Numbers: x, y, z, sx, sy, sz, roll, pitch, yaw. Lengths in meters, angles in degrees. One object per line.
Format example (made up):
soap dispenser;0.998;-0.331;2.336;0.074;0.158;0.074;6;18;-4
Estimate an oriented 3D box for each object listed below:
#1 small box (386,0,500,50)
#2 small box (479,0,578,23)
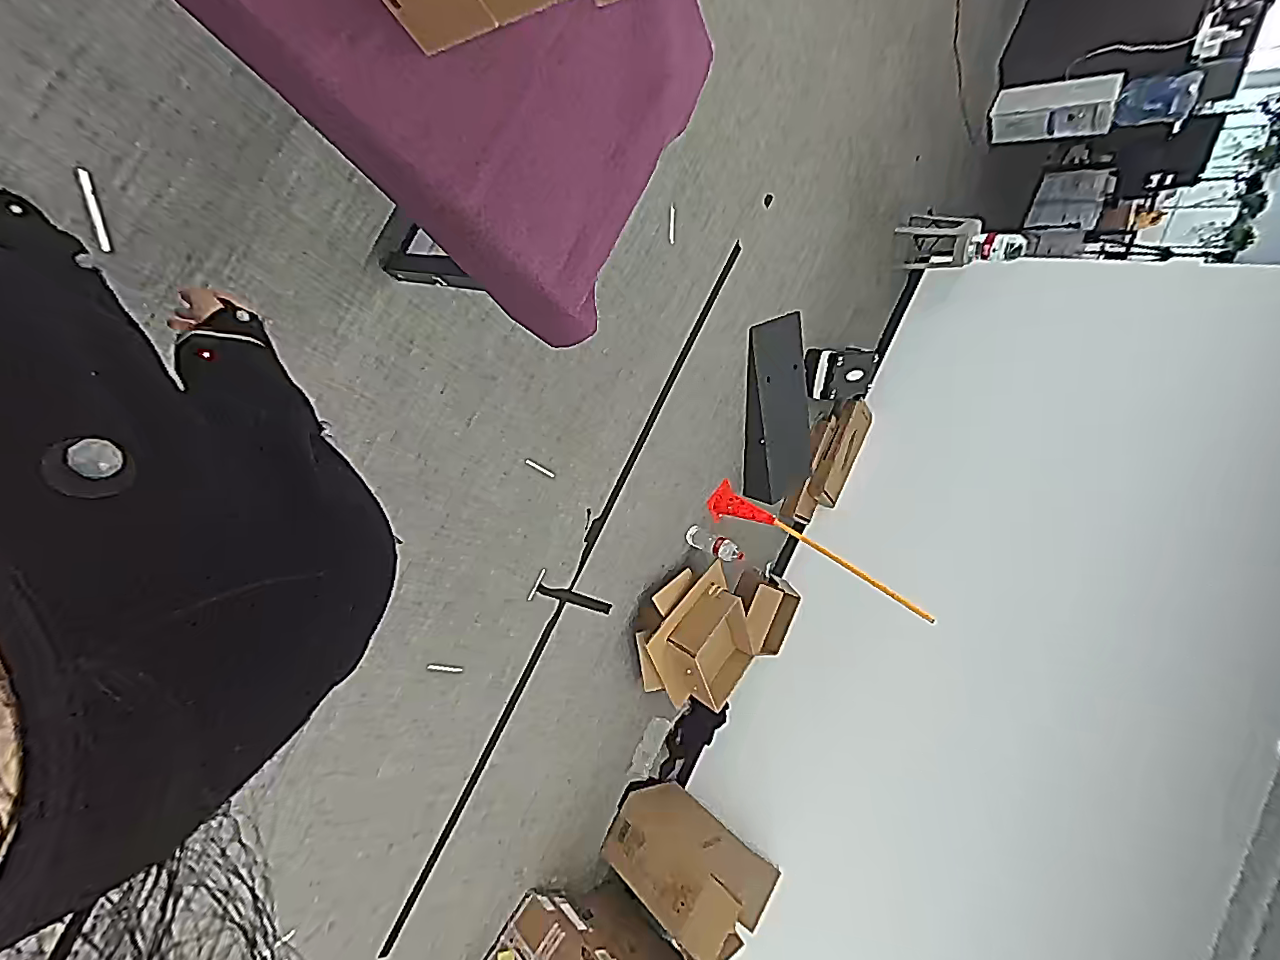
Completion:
small box;-0.218;-0.630;0.601;0.168;0.176;0.179;39;76;-51
small box;-0.095;-0.584;0.502;0.168;0.176;0.179;39;77;-50
